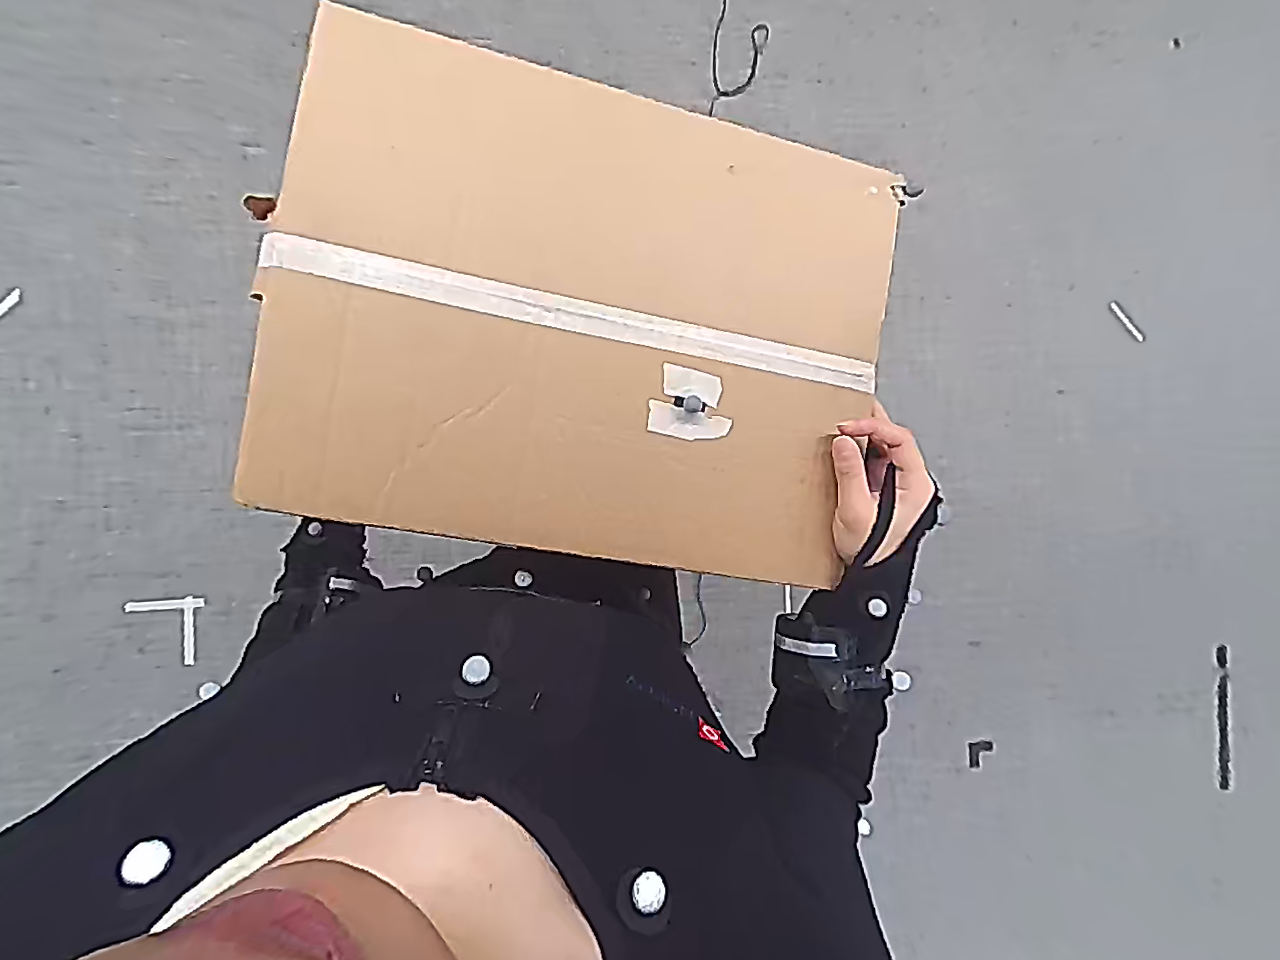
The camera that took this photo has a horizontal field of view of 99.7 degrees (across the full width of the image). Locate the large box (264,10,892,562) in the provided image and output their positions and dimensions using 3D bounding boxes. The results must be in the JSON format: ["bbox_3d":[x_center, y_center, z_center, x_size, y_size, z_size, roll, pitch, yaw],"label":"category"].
[{"bbox_3d":[-0.050,-0.118,0.517,0.408,0.320,0.320,9,90,-12],"label":"large box"}]
